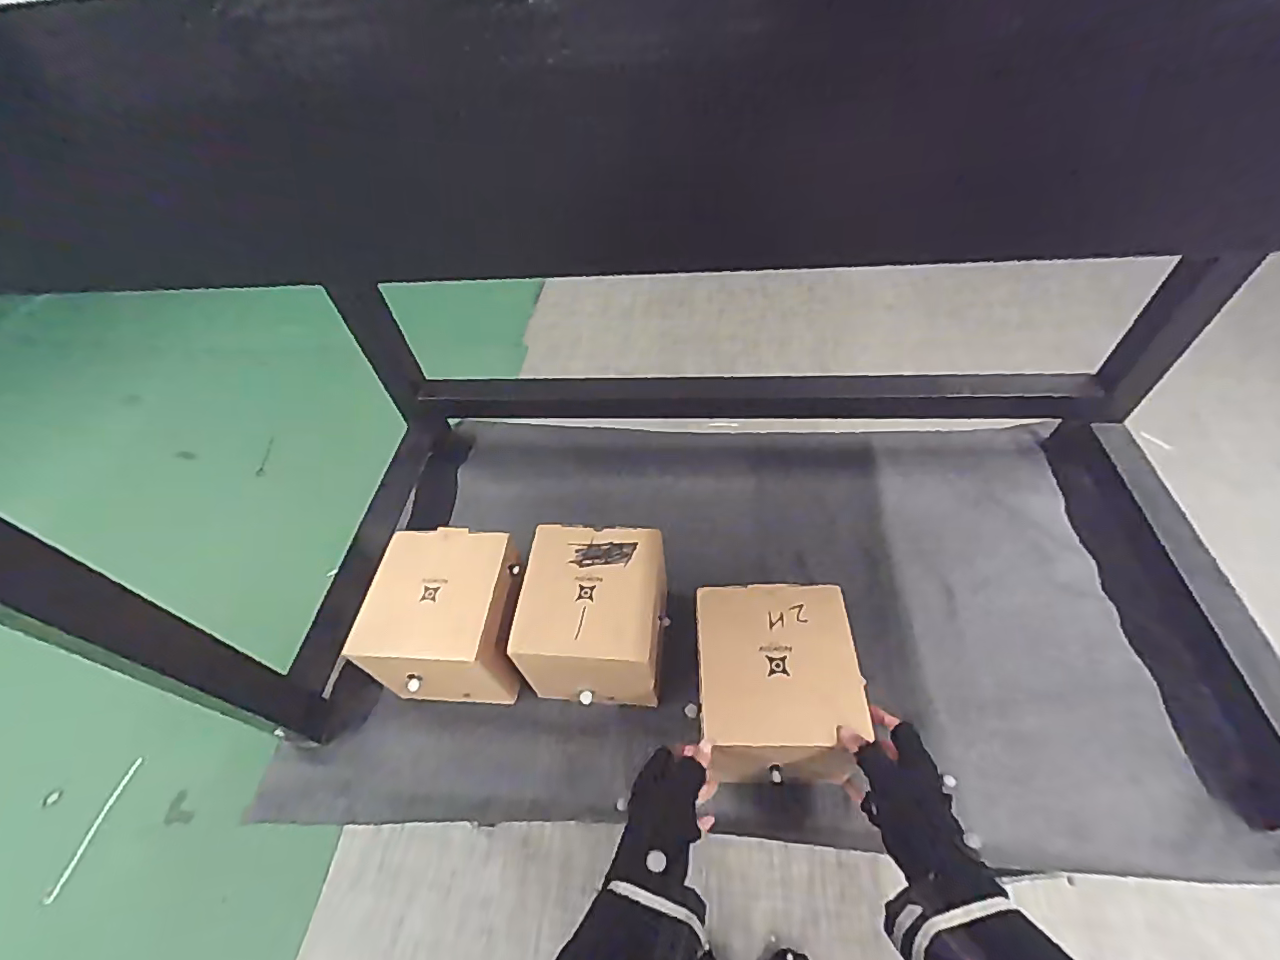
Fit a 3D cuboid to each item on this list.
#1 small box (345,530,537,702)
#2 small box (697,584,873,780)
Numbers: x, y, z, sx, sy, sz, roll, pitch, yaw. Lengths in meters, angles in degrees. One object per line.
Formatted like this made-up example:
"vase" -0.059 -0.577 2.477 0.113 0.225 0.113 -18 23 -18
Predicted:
"small box" -0.249 0.186 0.731 0.168 0.176 0.179 0 51 7
"small box" 0.153 0.240 0.633 0.168 0.176 0.179 -2 50 5
